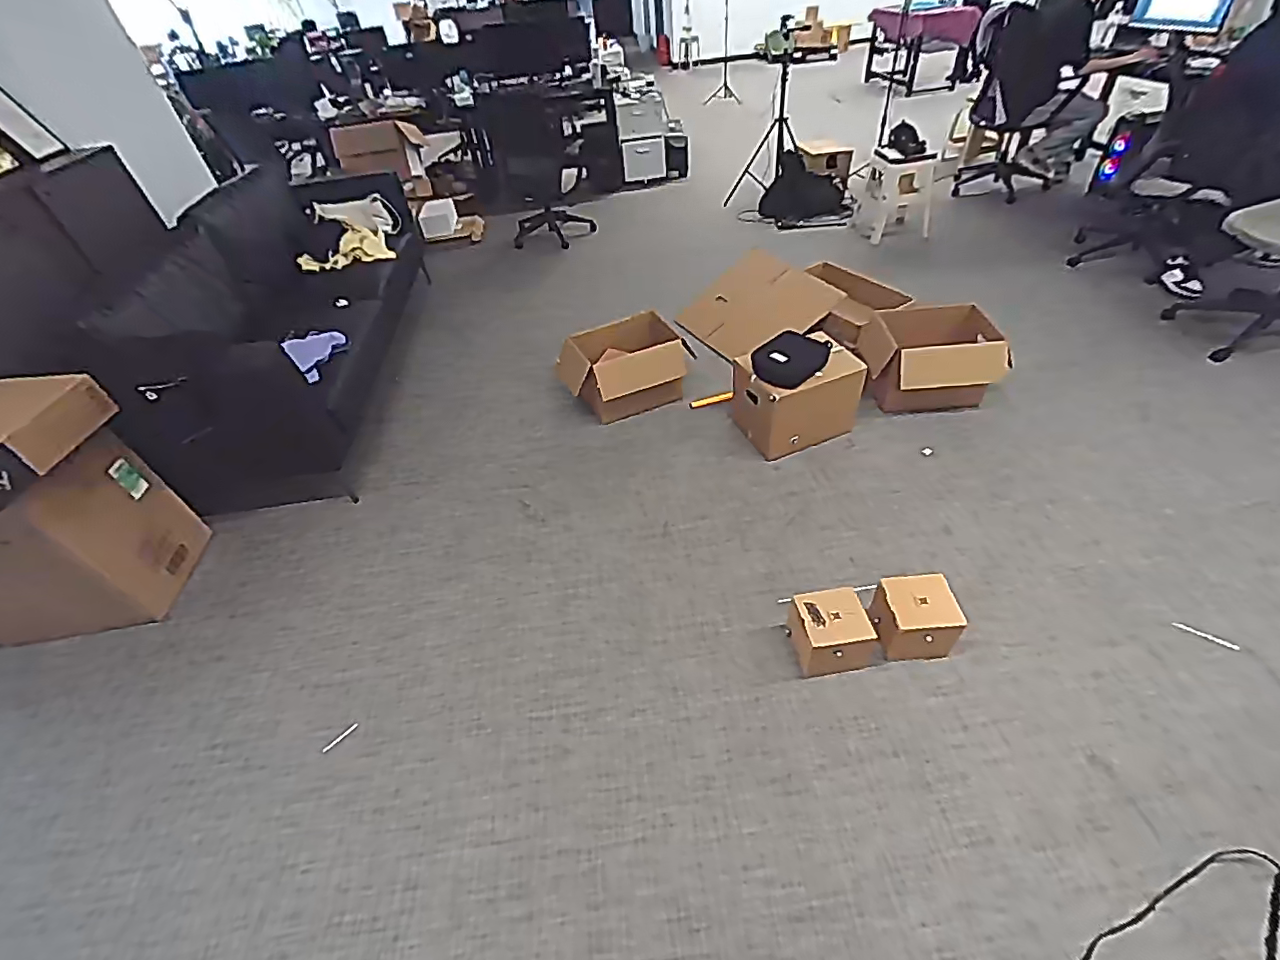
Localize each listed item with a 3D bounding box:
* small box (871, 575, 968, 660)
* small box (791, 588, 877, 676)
[{"bbox_3d":[0.773,0.388,1.517,0.179,0.176,0.168,-6,44,4],"label":"small box"},{"bbox_3d":[0.530,0.428,1.511,0.179,0.176,0.168,-9,44,-1],"label":"small box"}]
